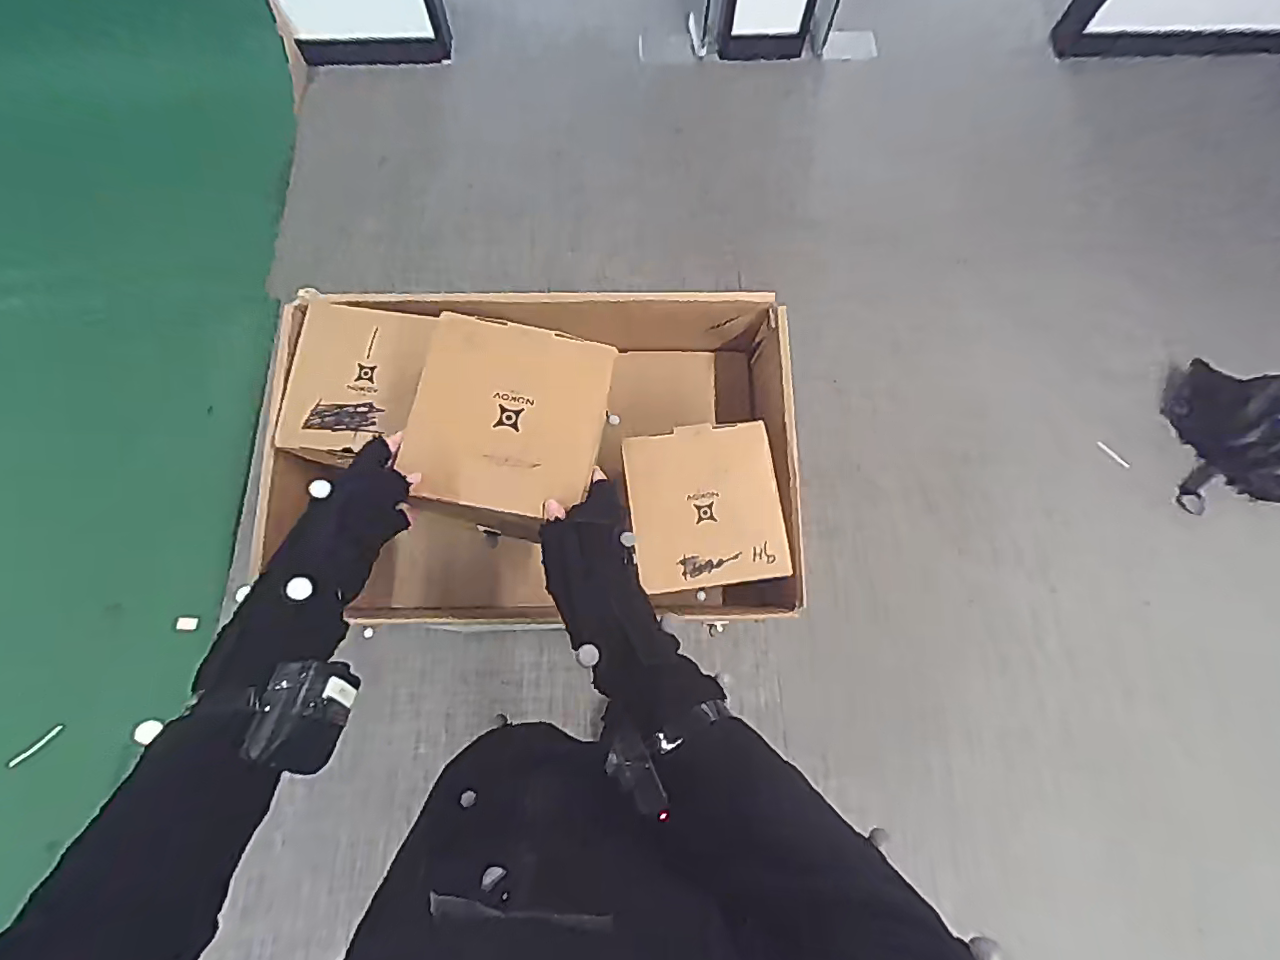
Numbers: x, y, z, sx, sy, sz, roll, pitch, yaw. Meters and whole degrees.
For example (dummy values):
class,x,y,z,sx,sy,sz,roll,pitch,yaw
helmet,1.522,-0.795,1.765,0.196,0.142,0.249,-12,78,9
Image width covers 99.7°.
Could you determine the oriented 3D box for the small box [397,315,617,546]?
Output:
class,x,y,z,sx,sy,sz,roll,pitch,yaw
small box,-0.124,-0.038,0.562,0.168,0.176,0.179,10,76,-4
